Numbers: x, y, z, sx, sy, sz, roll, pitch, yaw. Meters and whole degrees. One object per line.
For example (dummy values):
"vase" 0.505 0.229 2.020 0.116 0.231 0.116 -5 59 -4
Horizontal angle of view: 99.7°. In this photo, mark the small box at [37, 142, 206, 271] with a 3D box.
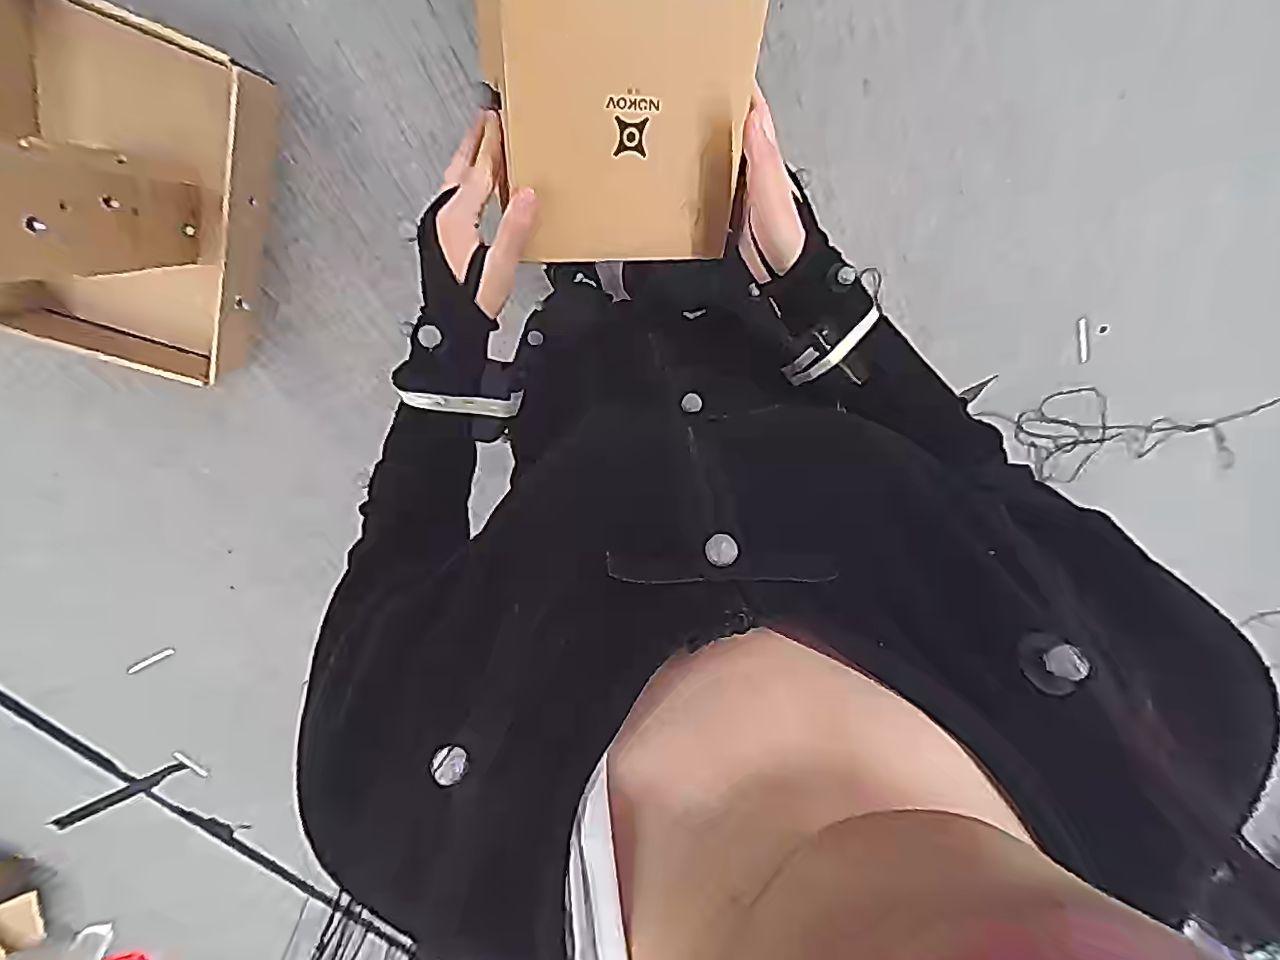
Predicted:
"small box" -0.993 -0.520 1.048 0.179 0.176 0.168 15 112 -16

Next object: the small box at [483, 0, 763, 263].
"small box" -0.028 -0.288 0.421 0.168 0.176 0.179 -7 132 -14

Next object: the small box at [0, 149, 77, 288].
"small box" -0.947 -0.382 0.755 0.179 0.176 0.168 11 111 -14

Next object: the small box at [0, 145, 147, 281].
"small box" -0.974 -0.447 0.905 0.179 0.176 0.168 12 111 -13
